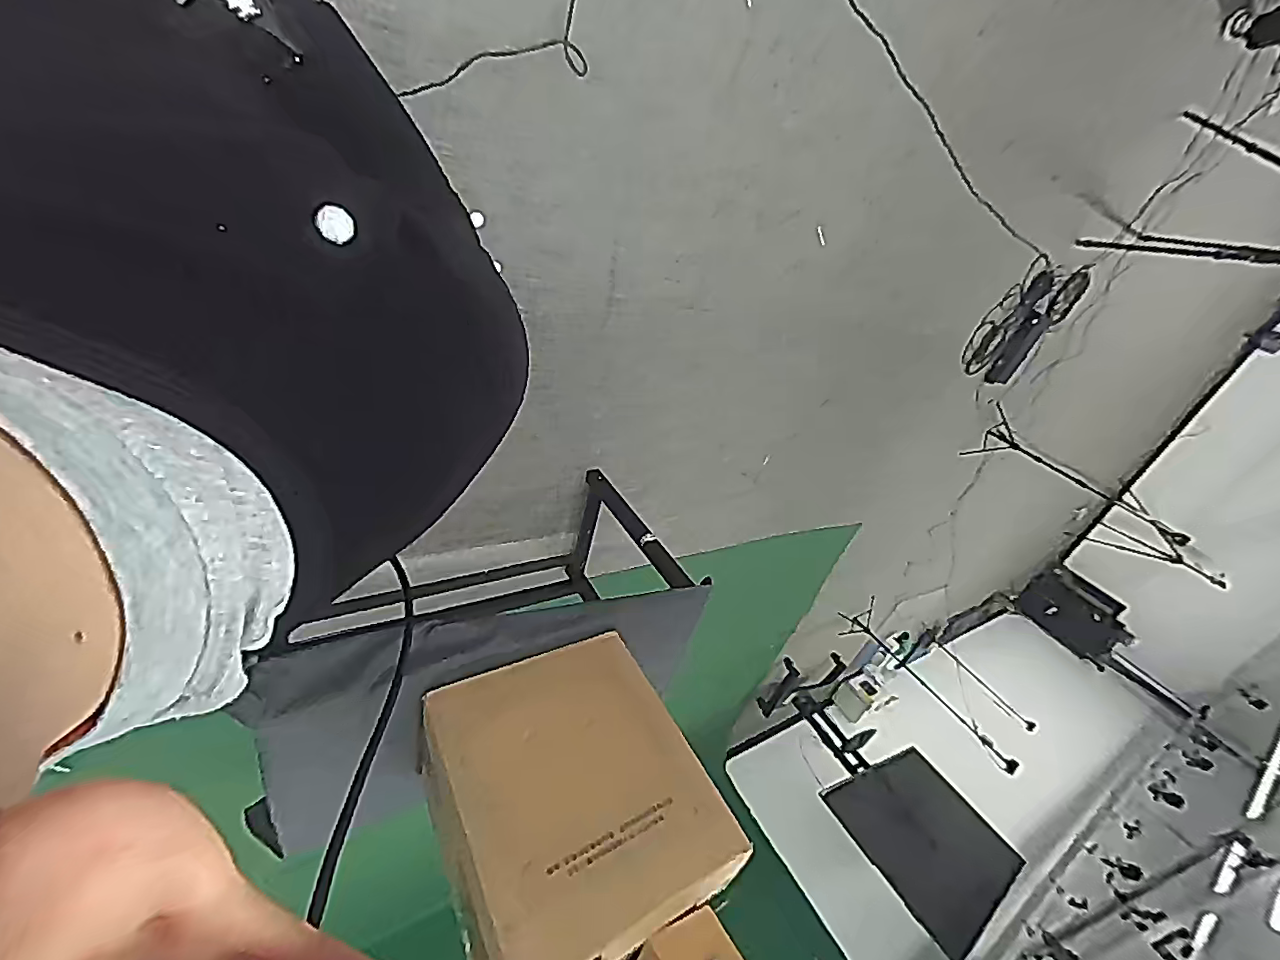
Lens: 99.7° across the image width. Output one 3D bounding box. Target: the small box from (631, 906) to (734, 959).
[{"bbox_3d":[0.088,1.020,1.093,0.179,0.176,0.168,6,110,-39],"label":"small box"}]
